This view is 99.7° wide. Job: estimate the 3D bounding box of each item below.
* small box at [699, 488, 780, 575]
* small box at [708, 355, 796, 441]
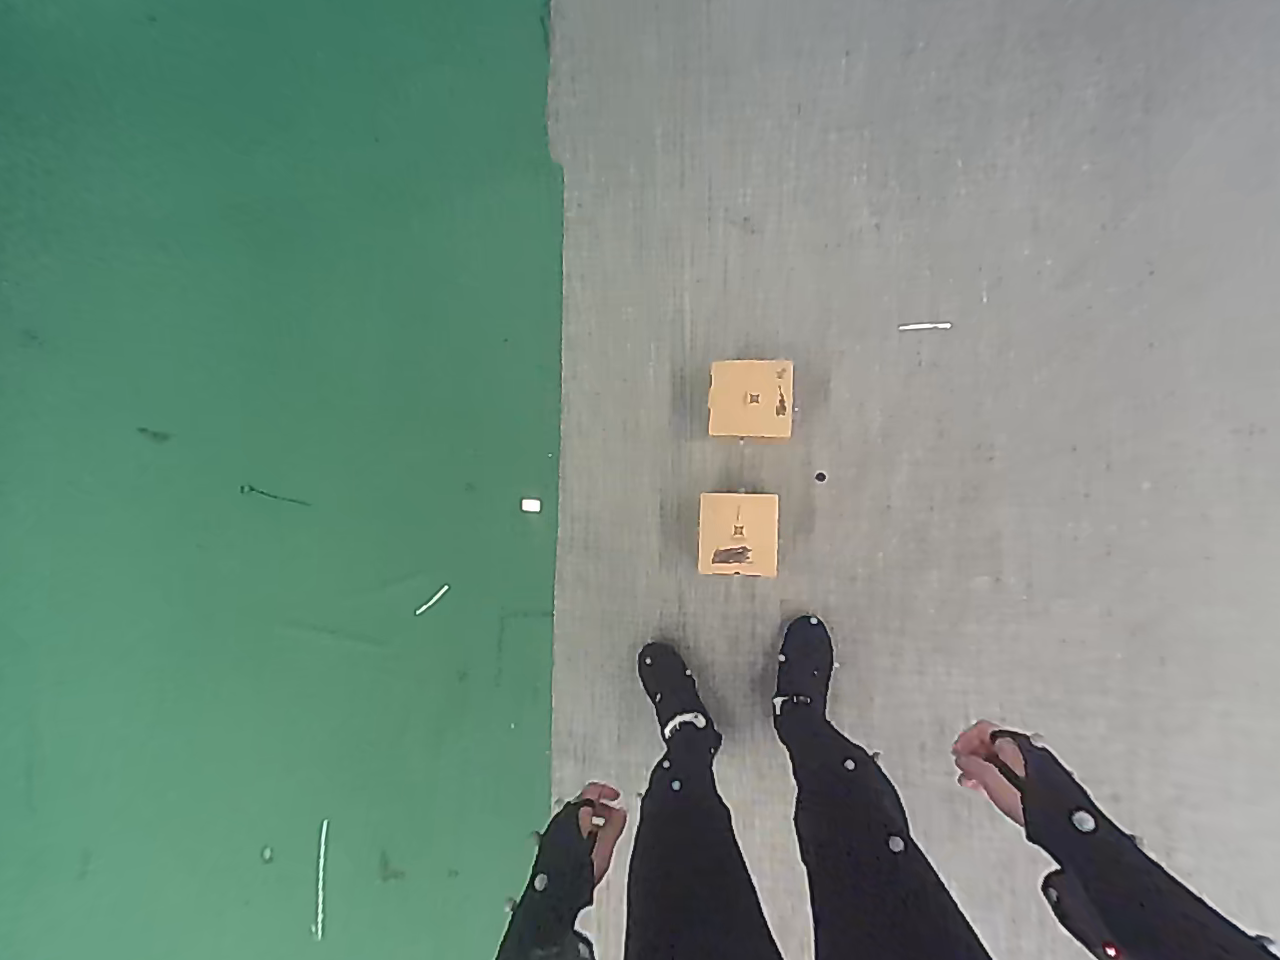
[{"bbox_3d":[0.223,0.109,1.208,0.168,0.176,0.179,1,87,11],"label":"small box"},{"bbox_3d":[0.251,-0.179,1.216,0.179,0.176,0.168,3,88,12],"label":"small box"}]
